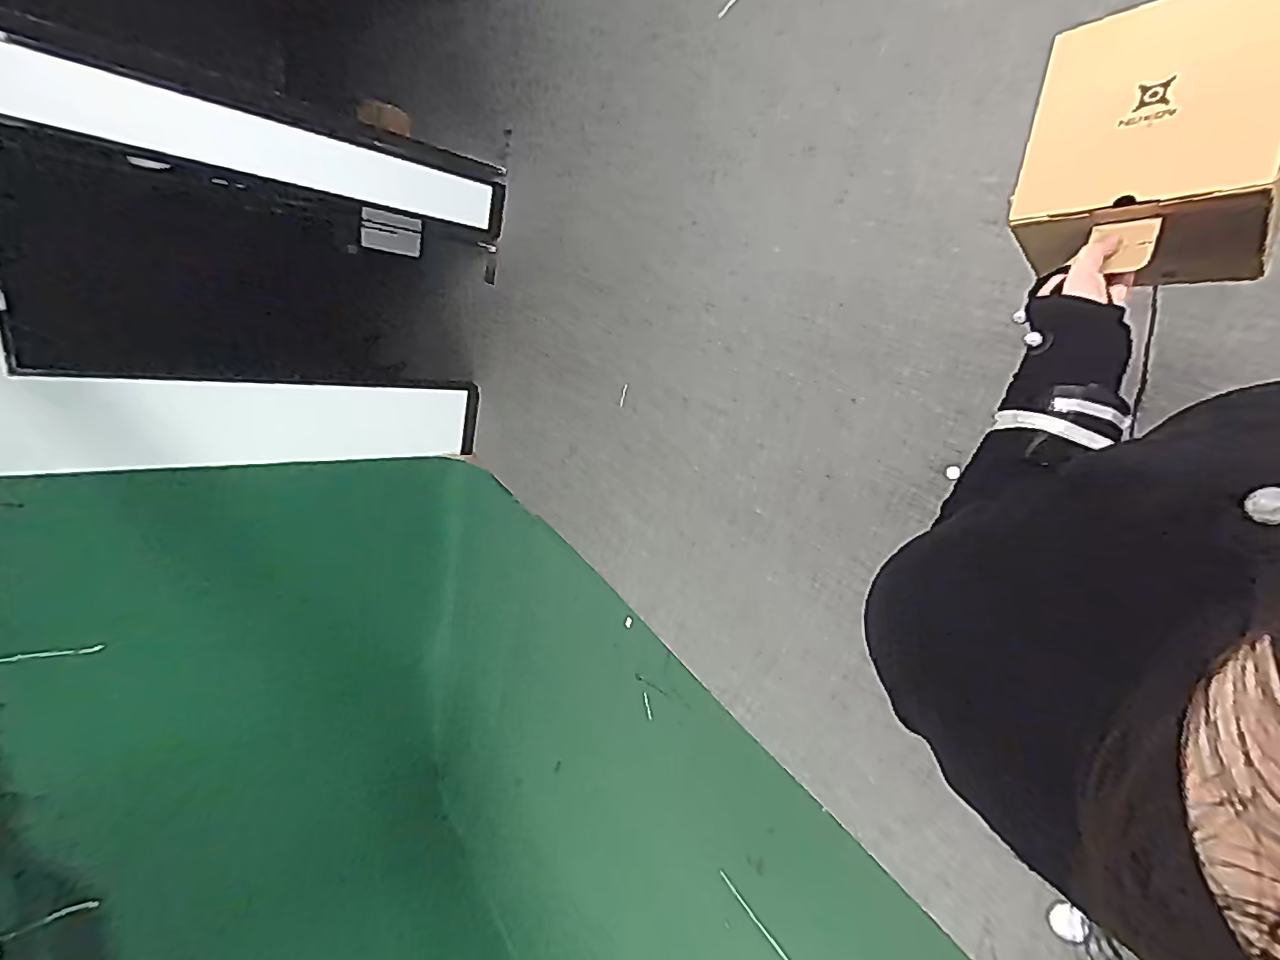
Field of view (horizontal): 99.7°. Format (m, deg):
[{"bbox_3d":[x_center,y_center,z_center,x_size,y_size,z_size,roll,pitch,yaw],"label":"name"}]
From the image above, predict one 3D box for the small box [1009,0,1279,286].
[{"bbox_3d":[0.476,-0.301,0.501,0.168,0.176,0.179,16,94,47],"label":"small box"}]
